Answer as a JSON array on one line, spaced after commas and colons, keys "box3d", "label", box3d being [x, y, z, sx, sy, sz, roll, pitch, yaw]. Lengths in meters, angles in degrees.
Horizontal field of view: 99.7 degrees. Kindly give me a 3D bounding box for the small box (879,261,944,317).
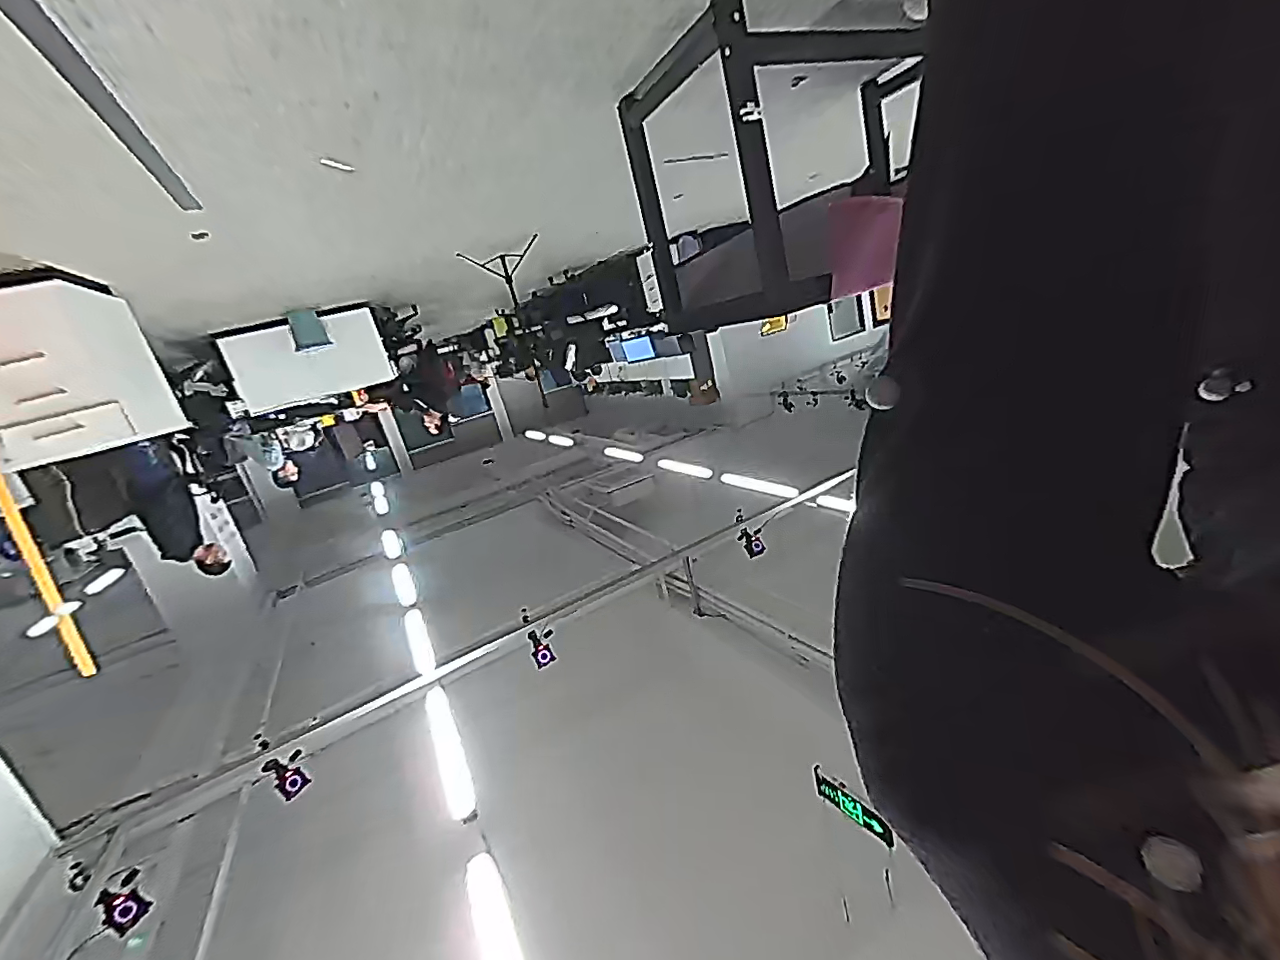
[{"box3d": [1.071, -0.755, 2.139, 0.168, 0.176, 0.179, -23, -162, -25], "label": "small box"}]
